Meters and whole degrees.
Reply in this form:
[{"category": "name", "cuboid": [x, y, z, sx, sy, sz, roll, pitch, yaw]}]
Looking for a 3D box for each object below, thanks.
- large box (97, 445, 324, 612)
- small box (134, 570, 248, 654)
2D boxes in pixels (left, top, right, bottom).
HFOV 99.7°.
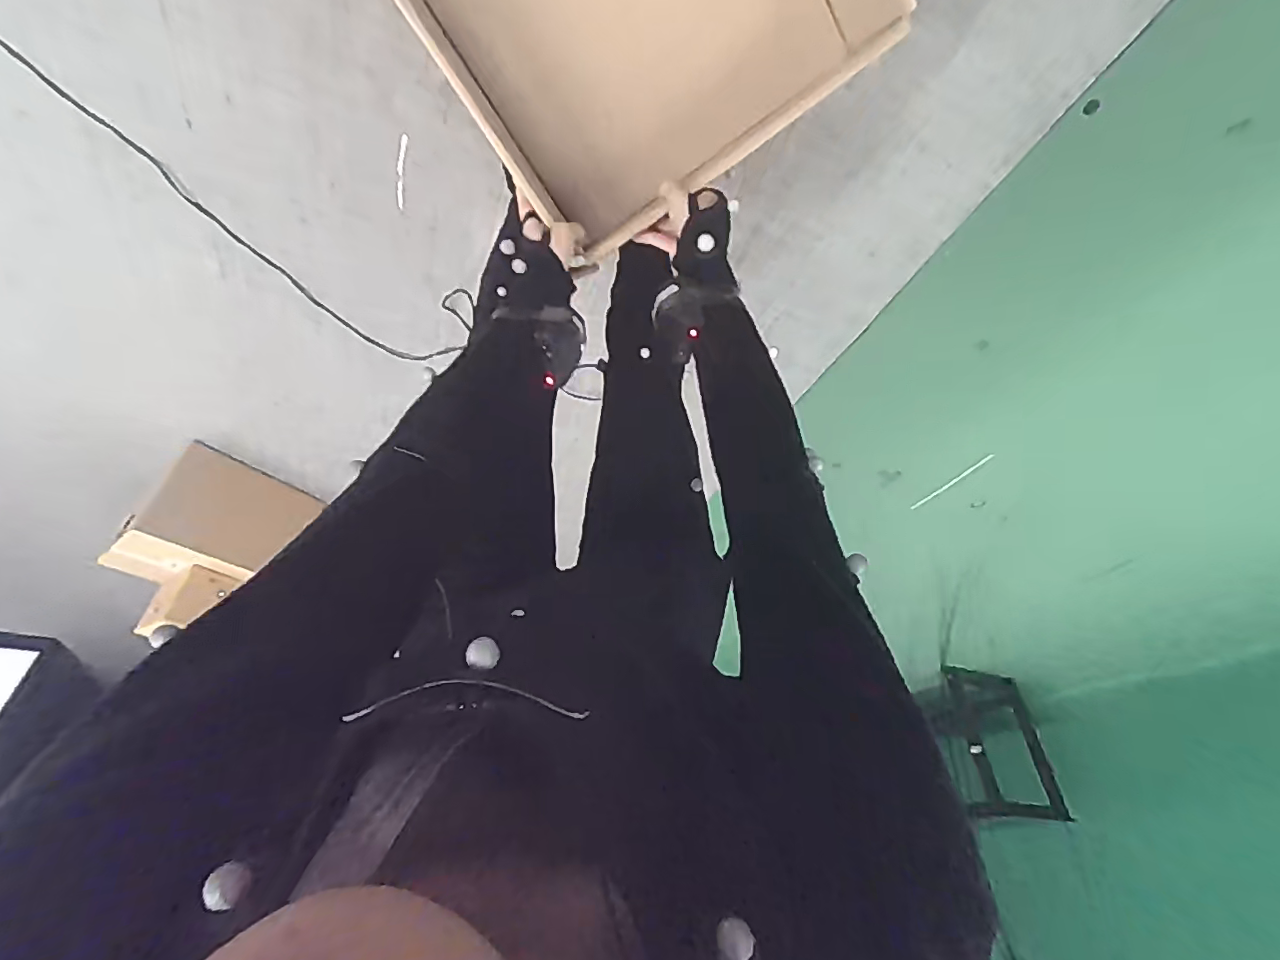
[{"category": "large box", "cuboid": [-1.291, 0.162, 1.665, 0.320, 0.320, 0.408, -24, 135, 29]}, {"category": "small box", "cuboid": [-1.275, 0.380, 1.548, 0.179, 0.176, 0.168, -20, 138, 26]}]
